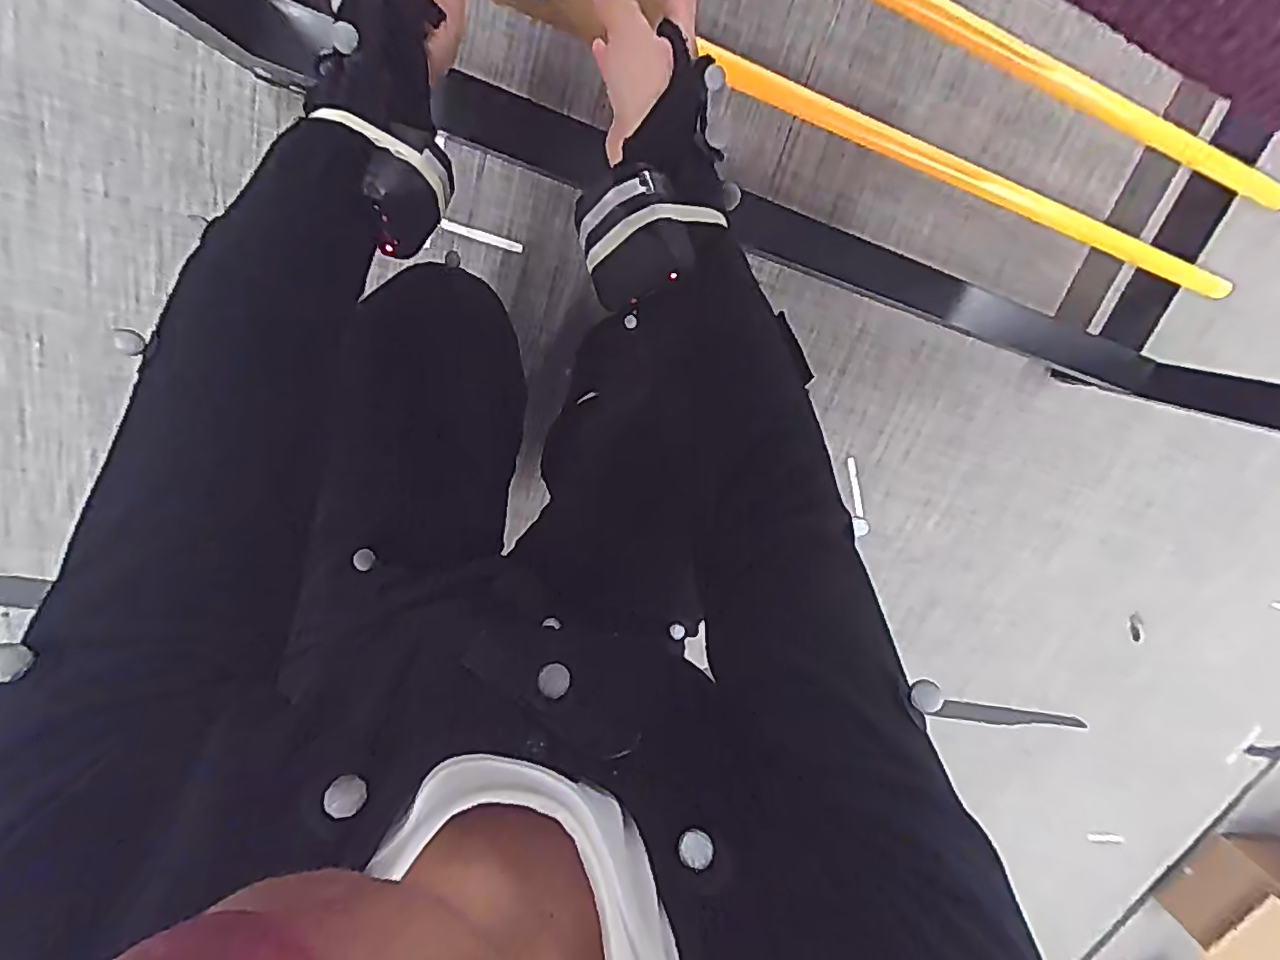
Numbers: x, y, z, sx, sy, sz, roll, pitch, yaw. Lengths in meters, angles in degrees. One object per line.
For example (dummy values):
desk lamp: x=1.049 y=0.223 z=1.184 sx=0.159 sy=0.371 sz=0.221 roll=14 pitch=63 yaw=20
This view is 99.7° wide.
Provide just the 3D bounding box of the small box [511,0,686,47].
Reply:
small box: x=-0.040 y=-0.455 z=0.392 sx=0.179 sy=0.176 sz=0.168 roll=11 pitch=112 yaw=-17
